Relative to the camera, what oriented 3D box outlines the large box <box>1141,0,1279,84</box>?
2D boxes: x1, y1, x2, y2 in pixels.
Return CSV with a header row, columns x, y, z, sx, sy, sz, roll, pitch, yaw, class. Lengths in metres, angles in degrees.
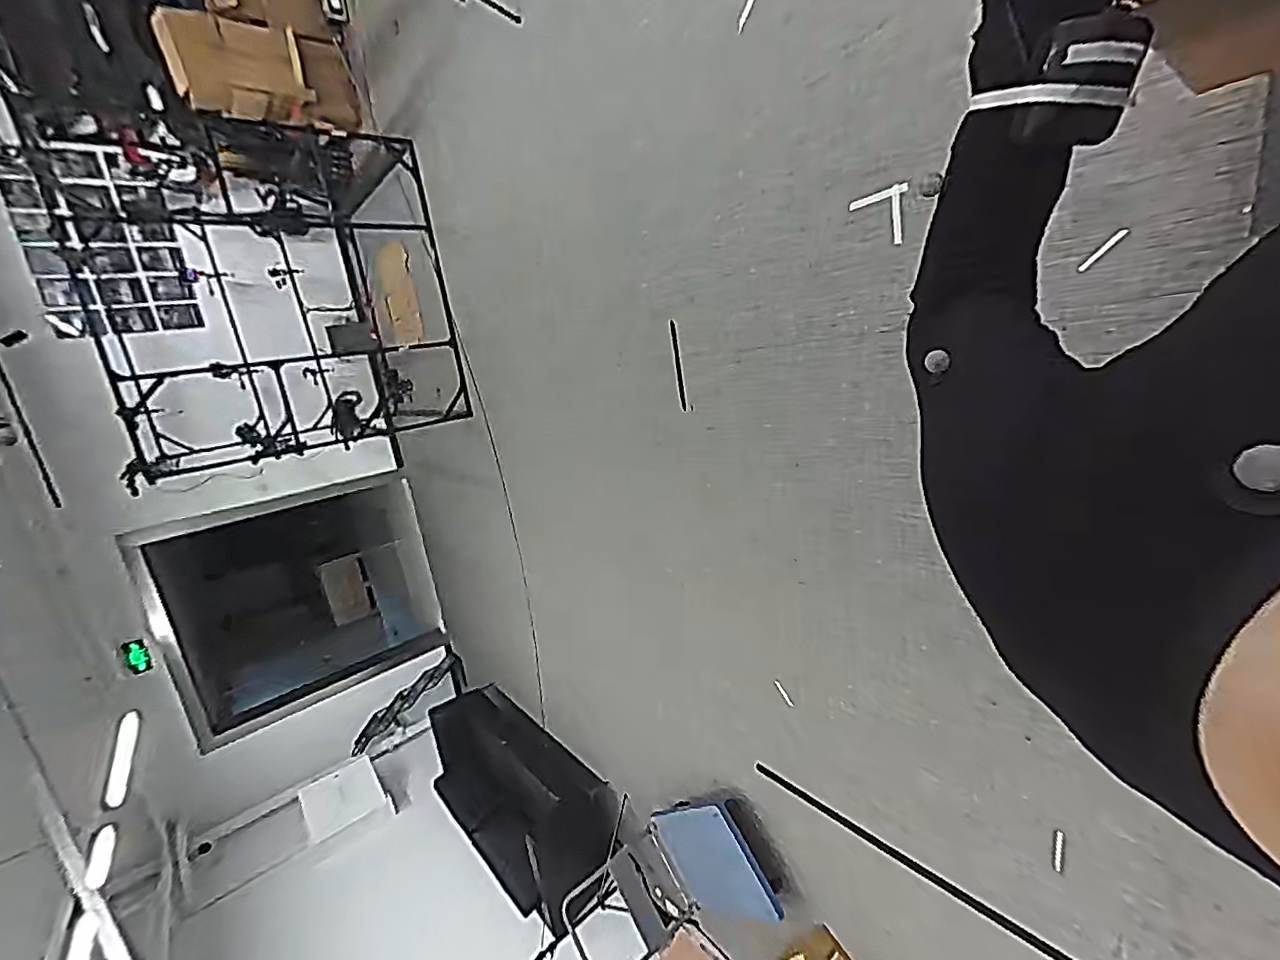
x,y,z,sx,sy,sz,roll,pitch,yaw,class
0.515,-0.466,0.240,0.408,0.320,0.320,7,111,50,large box
